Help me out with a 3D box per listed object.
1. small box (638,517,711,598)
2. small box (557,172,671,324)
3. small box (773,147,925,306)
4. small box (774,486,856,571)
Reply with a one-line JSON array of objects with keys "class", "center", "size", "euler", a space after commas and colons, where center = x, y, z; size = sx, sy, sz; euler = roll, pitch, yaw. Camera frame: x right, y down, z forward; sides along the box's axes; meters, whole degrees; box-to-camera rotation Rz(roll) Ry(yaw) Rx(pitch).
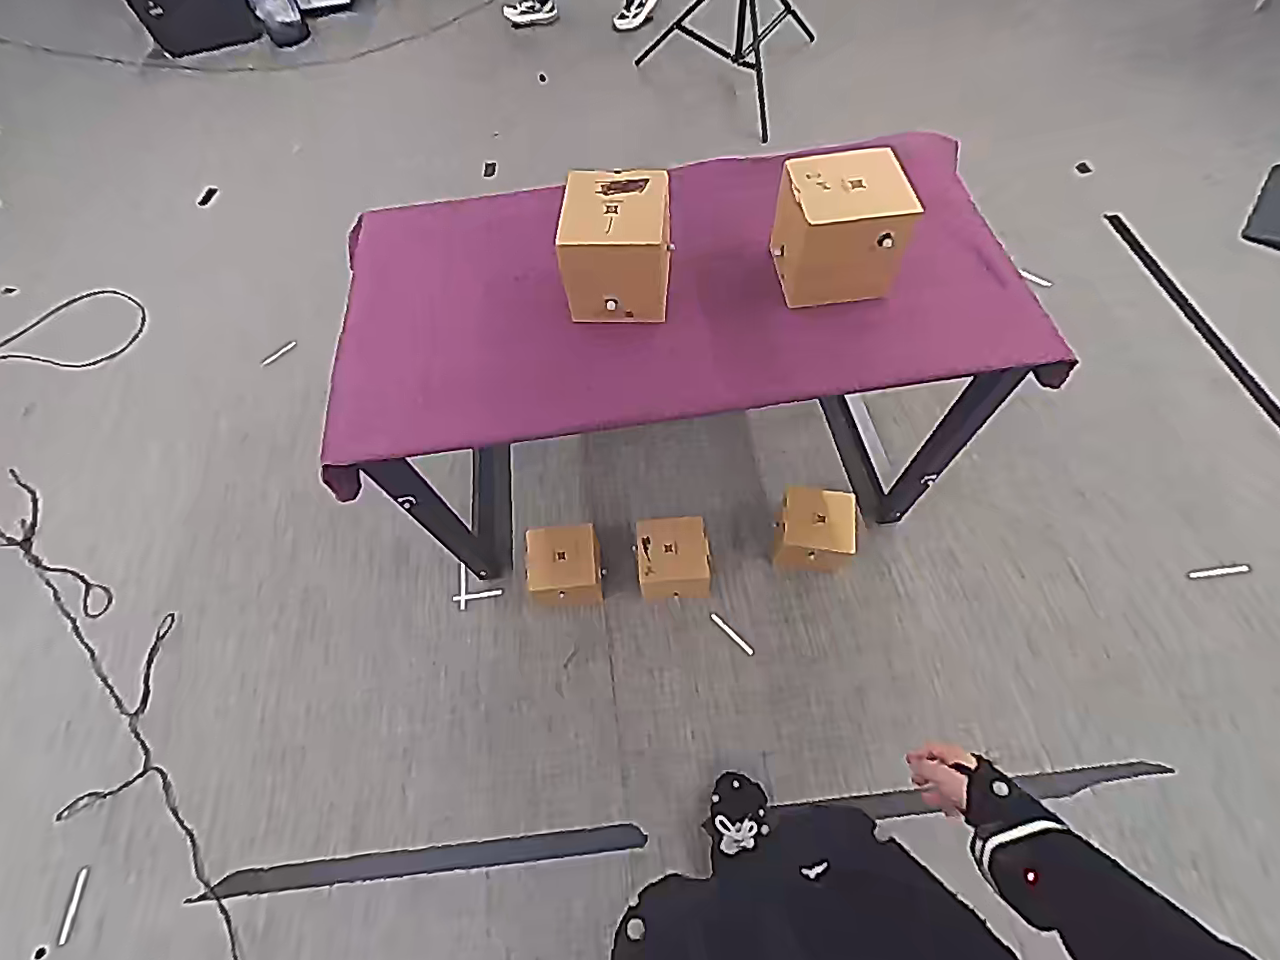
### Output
[{"class": "small box", "center": [0.088, 0.208, 1.424], "size": [0.179, 0.176, 0.168], "euler": [-4, 63, 2]}, {"class": "small box", "center": [-0.034, -0.392, 0.920], "size": [0.168, 0.176, 0.179], "euler": [2, 64, 6]}, {"class": "small box", "center": [0.334, -0.416, 0.903], "size": [0.179, 0.176, 0.168], "euler": [-7, 62, 2]}, {"class": "small box", "center": [0.461, 0.133, 1.434], "size": [0.179, 0.176, 0.168], "euler": [7, 64, 9]}]
